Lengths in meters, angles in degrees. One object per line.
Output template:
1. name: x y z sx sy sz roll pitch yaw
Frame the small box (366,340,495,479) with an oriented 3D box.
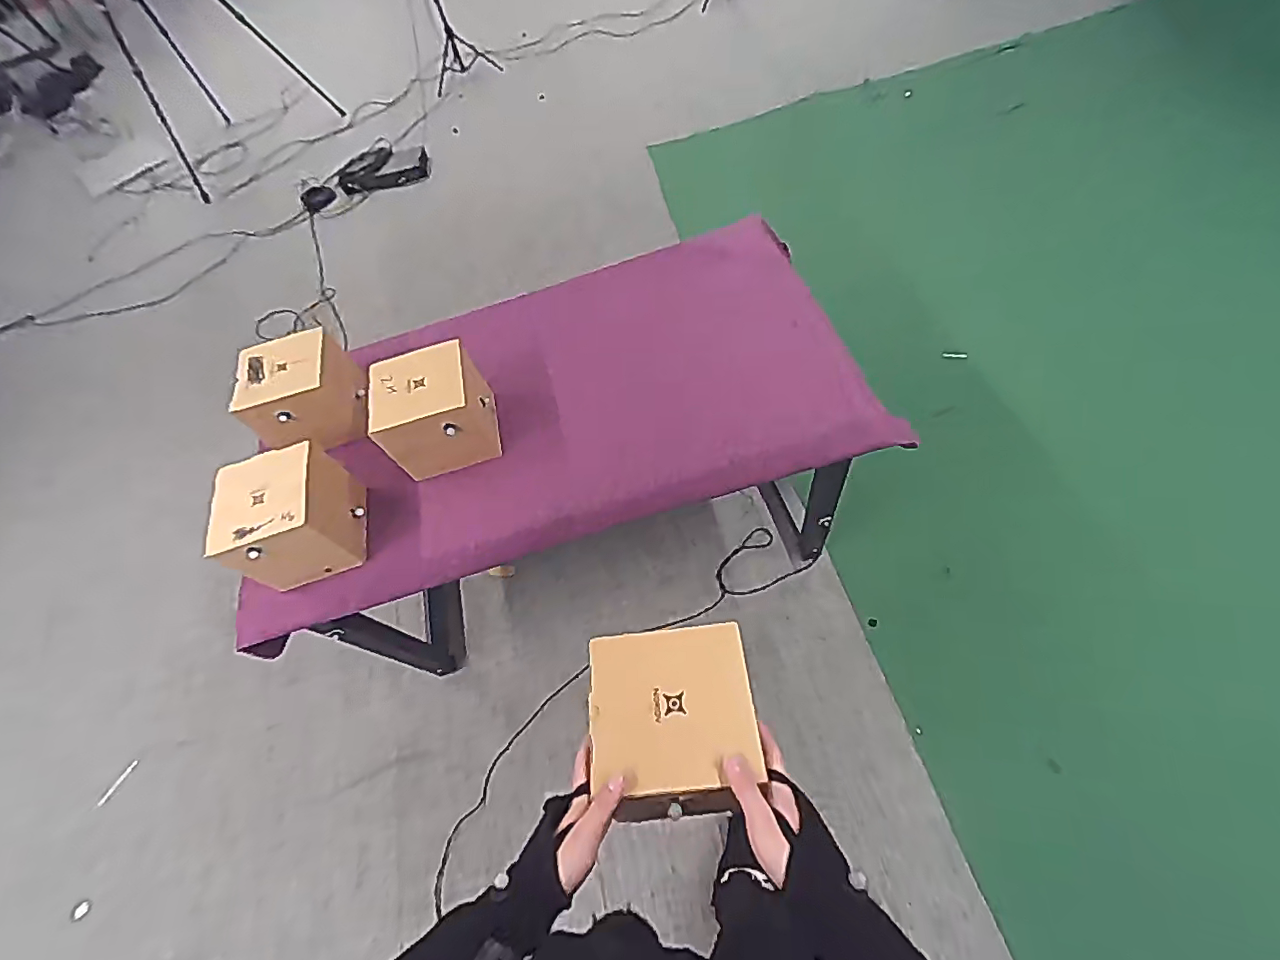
1. small box: -0.382 -0.126 1.011 0.179 0.176 0.168 -16 59 1

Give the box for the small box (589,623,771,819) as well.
1. small box: 0.044 0.284 0.627 0.179 0.176 0.168 -9 52 4

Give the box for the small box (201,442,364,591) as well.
1. small box: -0.606 0.068 0.943 0.168 0.176 0.179 -19 58 0

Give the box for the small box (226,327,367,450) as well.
1. small box: -0.677 -0.171 1.091 0.179 0.176 0.168 -16 60 0
